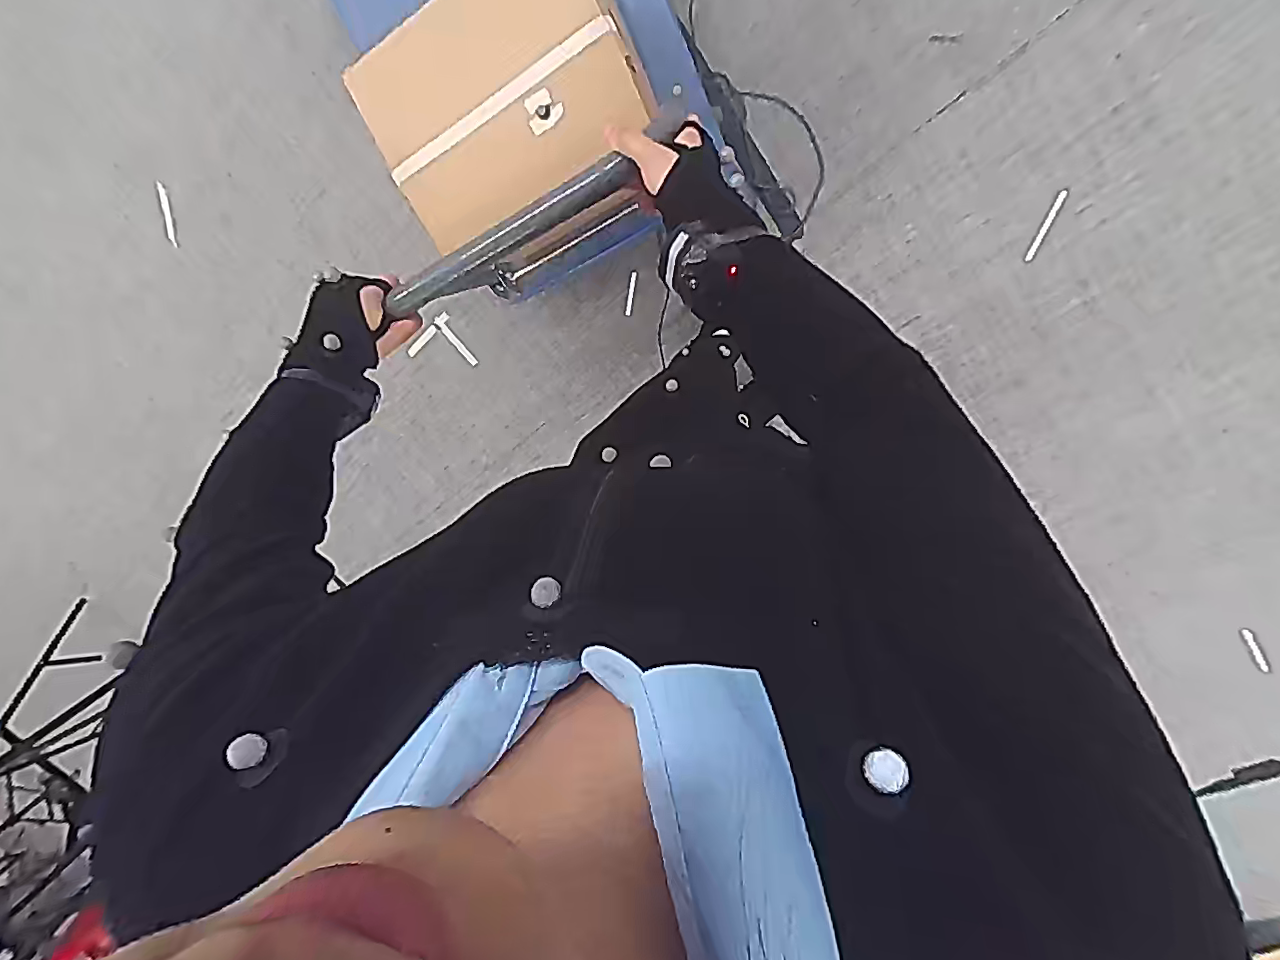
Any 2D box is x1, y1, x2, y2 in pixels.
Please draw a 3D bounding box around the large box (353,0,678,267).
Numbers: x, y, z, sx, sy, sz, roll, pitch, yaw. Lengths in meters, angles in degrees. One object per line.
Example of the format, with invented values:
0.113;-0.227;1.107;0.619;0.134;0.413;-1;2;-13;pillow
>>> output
-0.188;-0.618;0.956;0.408;0.320;0.320;-22;108;18;large box
